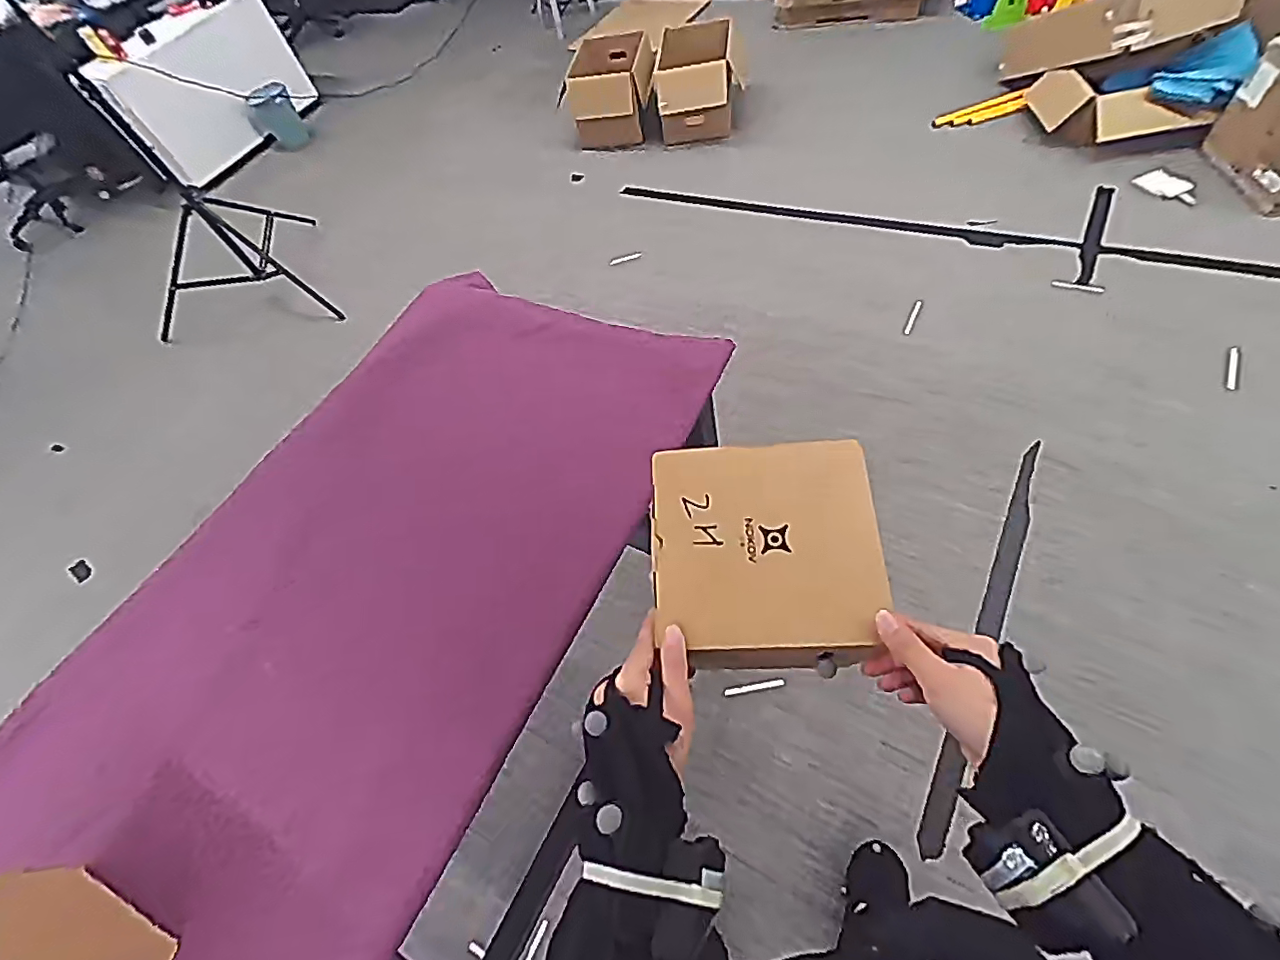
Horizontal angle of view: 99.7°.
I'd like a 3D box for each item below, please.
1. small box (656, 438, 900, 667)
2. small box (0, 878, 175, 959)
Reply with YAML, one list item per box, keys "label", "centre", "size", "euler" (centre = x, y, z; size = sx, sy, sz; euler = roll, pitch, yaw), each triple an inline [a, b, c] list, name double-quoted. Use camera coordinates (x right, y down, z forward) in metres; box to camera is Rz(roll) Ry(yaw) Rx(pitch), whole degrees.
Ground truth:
- label: "small box"
  centre: [0.109, 0.076, 0.496]
  size: [0.179, 0.176, 0.168]
  euler: [-4, 65, 7]
- label: "small box"
  centre: [-0.582, 0.482, 0.476]
  size: [0.179, 0.176, 0.168]
  euler: [13, 62, 19]
